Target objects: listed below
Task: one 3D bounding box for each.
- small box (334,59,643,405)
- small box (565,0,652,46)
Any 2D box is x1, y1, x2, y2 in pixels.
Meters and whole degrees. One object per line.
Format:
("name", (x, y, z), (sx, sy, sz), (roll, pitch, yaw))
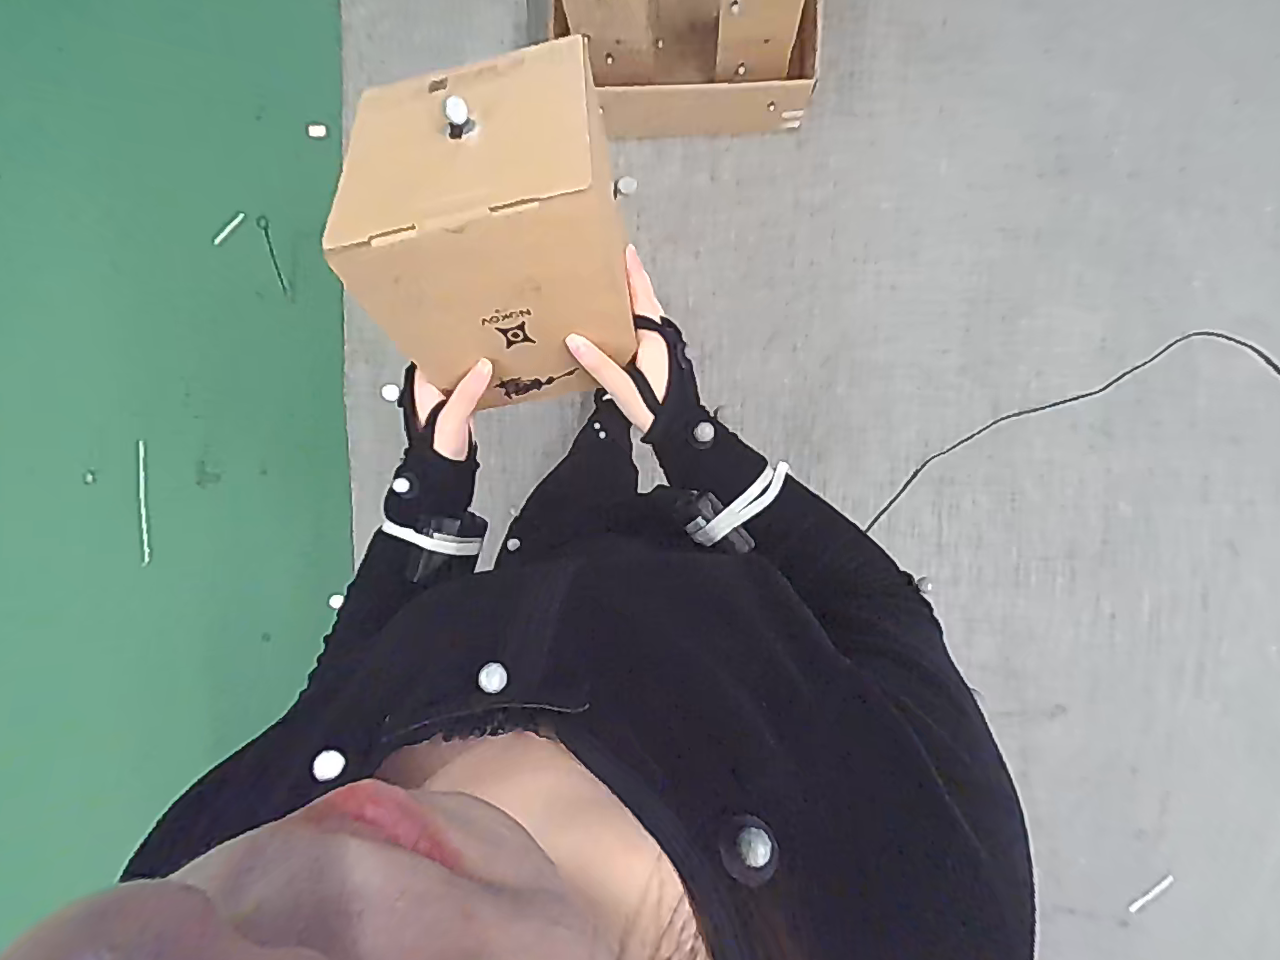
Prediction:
("small box", (-0.096, -0.187, 0.421), (0.168, 0.179, 0.176), (-8, 62, 6))
("small box", (-0.061, -1.046, 1.115), (0.168, 0.176, 0.179), (7, 94, 4))
